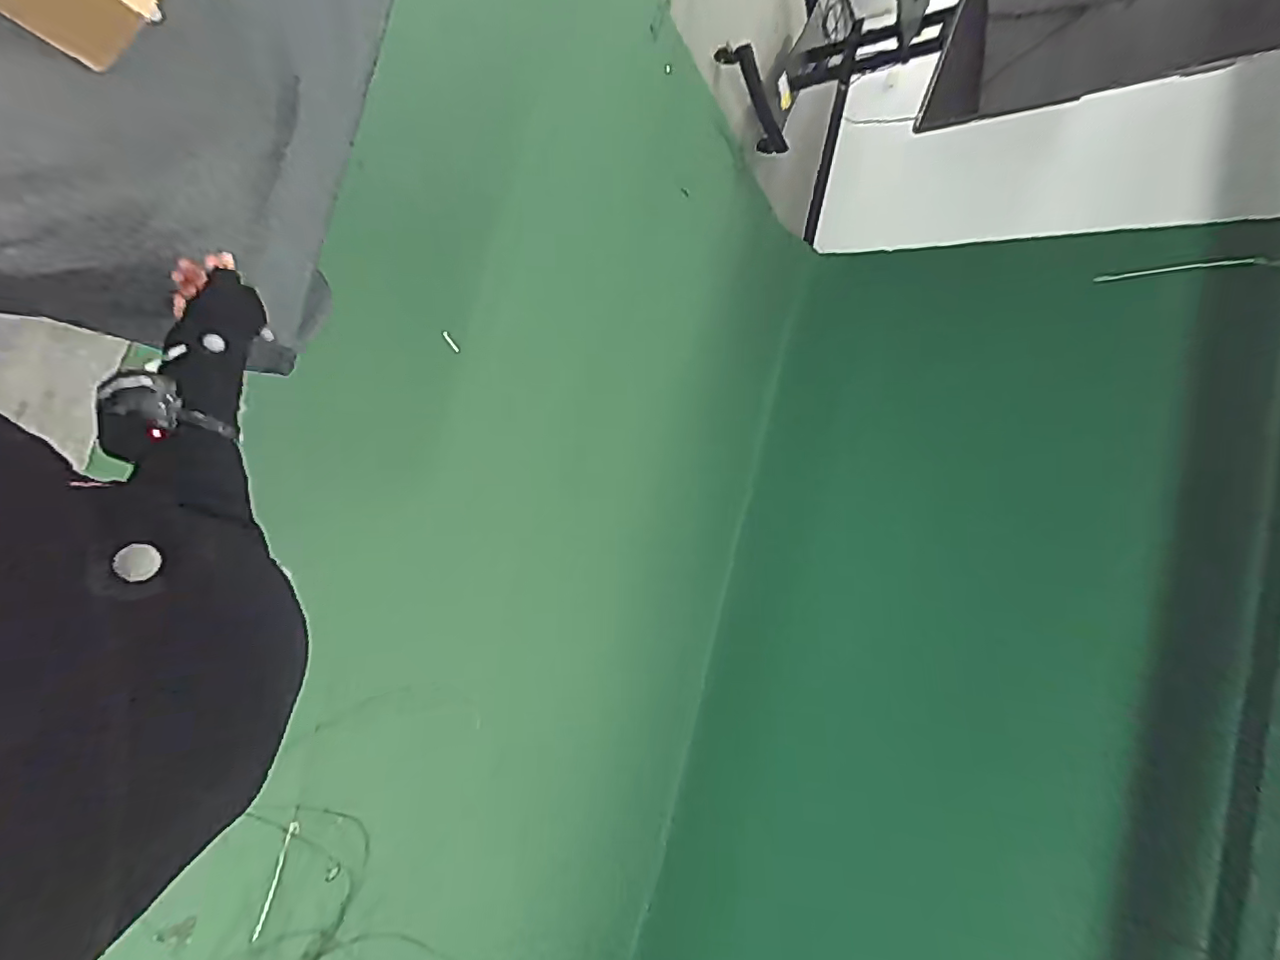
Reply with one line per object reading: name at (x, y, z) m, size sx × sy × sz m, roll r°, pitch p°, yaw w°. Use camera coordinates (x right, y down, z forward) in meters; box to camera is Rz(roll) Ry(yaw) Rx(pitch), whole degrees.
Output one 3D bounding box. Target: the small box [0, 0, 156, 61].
small box at (-0.492, -0.481, 0.422) m, size 0.179 × 0.176 × 0.168 m, roll 22°, pitch 81°, yaw -56°
